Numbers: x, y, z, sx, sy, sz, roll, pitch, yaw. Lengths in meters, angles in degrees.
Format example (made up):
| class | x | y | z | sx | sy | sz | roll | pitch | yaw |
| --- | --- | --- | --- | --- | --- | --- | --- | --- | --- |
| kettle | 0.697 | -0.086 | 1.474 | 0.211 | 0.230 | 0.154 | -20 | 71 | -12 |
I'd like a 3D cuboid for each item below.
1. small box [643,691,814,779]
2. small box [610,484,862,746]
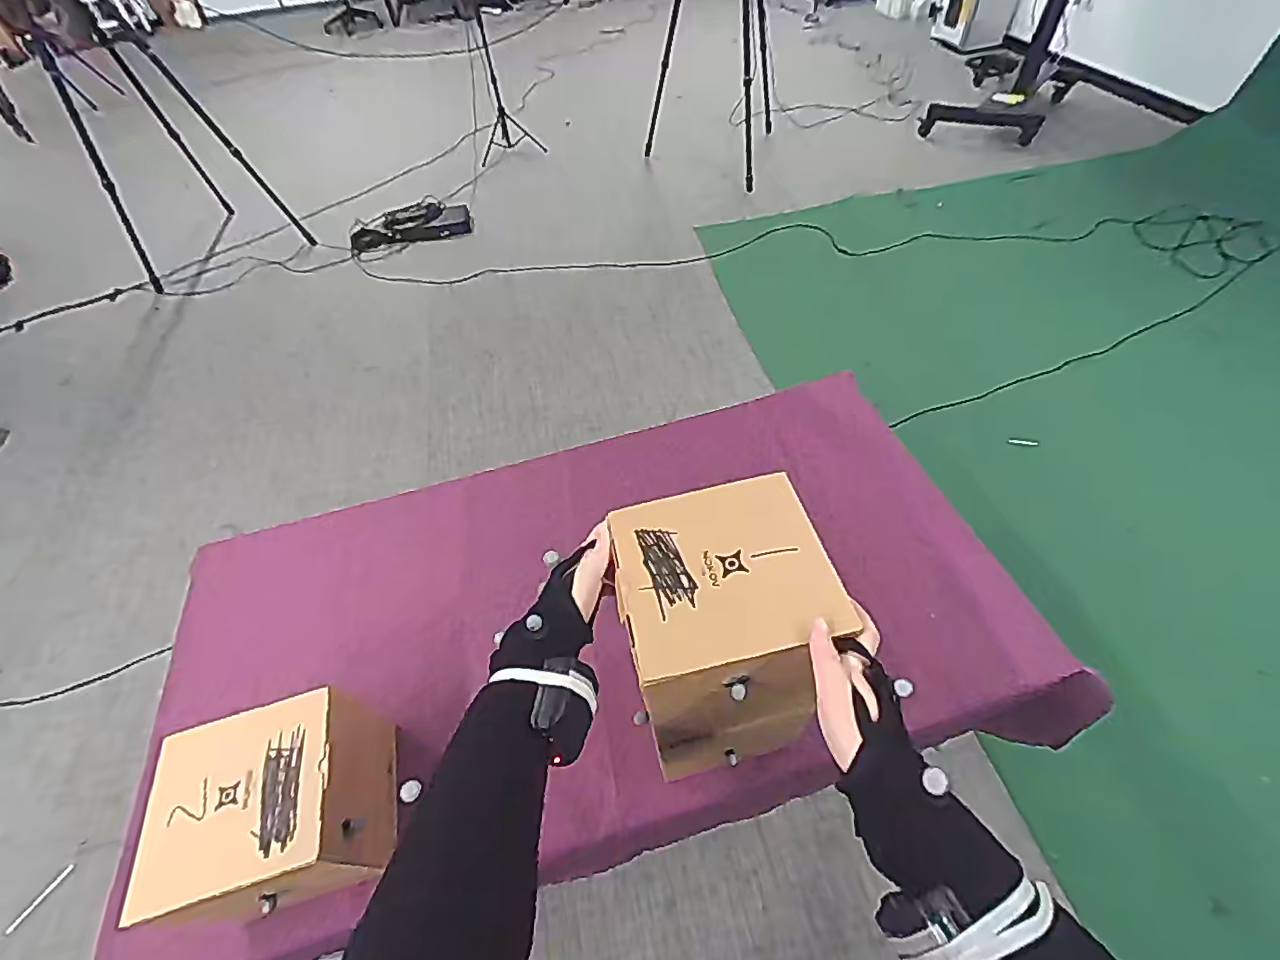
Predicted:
| class | x | y | z | sx | sy | sz | roll | pitch | yaw |
| --- | --- | --- | --- | --- | --- | --- | --- | --- | --- |
| small box | 0.086 | 0.242 | 0.649 | 0.168 | 0.176 | 0.179 | -12 | 52 | -5 |
| small box | 0.080 | 0.133 | 0.516 | 0.179 | 0.176 | 0.168 | -13 | 50 | -3 |
